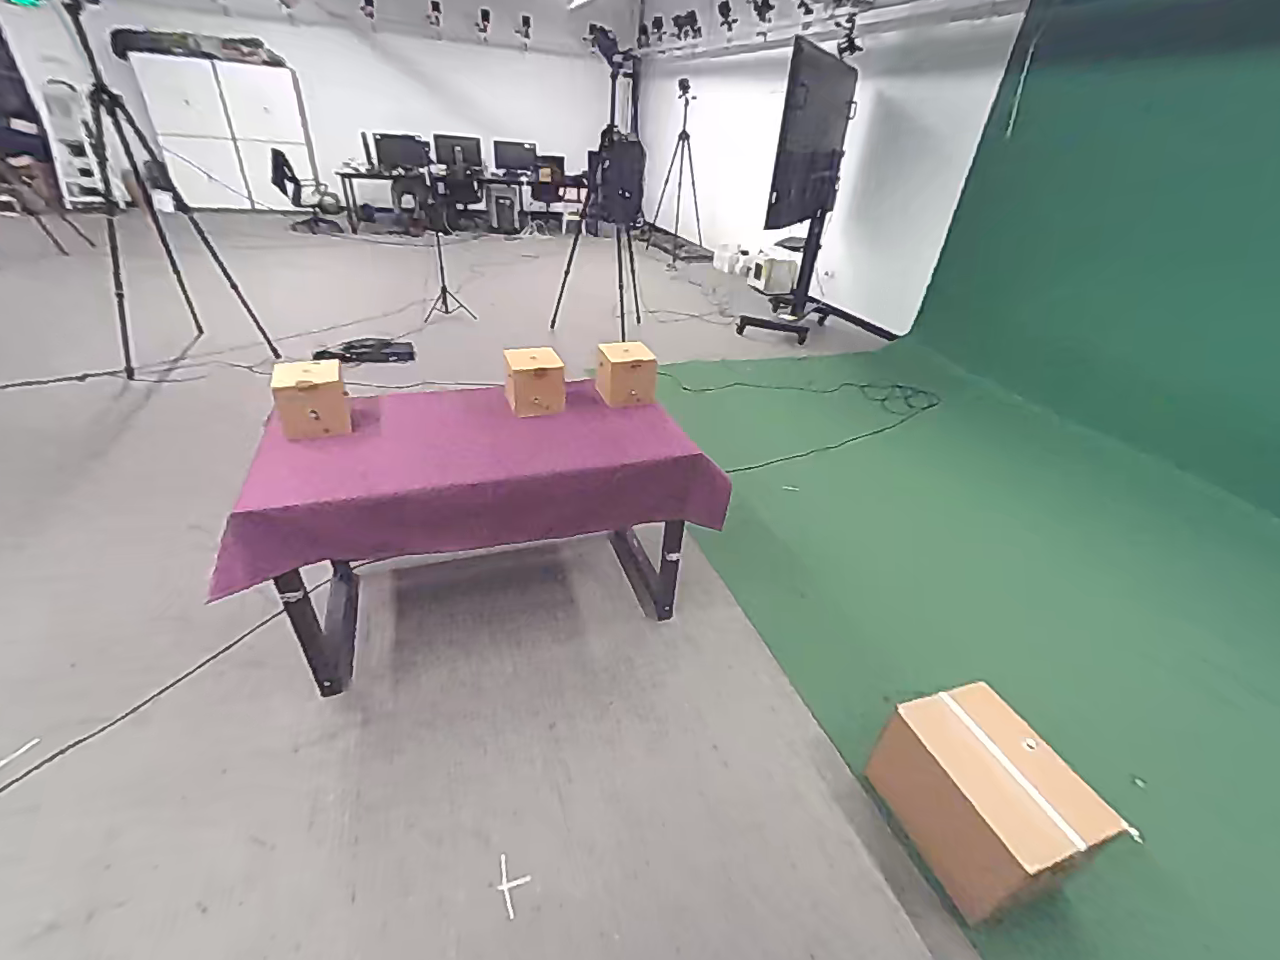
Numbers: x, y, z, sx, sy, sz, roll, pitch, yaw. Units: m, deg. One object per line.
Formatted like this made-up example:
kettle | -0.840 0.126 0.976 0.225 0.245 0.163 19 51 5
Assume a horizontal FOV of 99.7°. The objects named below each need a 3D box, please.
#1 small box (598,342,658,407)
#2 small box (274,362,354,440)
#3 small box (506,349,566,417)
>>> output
small box | -0.048 -0.372 1.893 0.168 0.176 0.179 -9 36 -18
small box | -0.944 -0.226 1.578 0.168 0.176 0.179 -11 37 -23
small box | -0.347 -0.323 1.794 0.168 0.176 0.179 -10 36 -20
